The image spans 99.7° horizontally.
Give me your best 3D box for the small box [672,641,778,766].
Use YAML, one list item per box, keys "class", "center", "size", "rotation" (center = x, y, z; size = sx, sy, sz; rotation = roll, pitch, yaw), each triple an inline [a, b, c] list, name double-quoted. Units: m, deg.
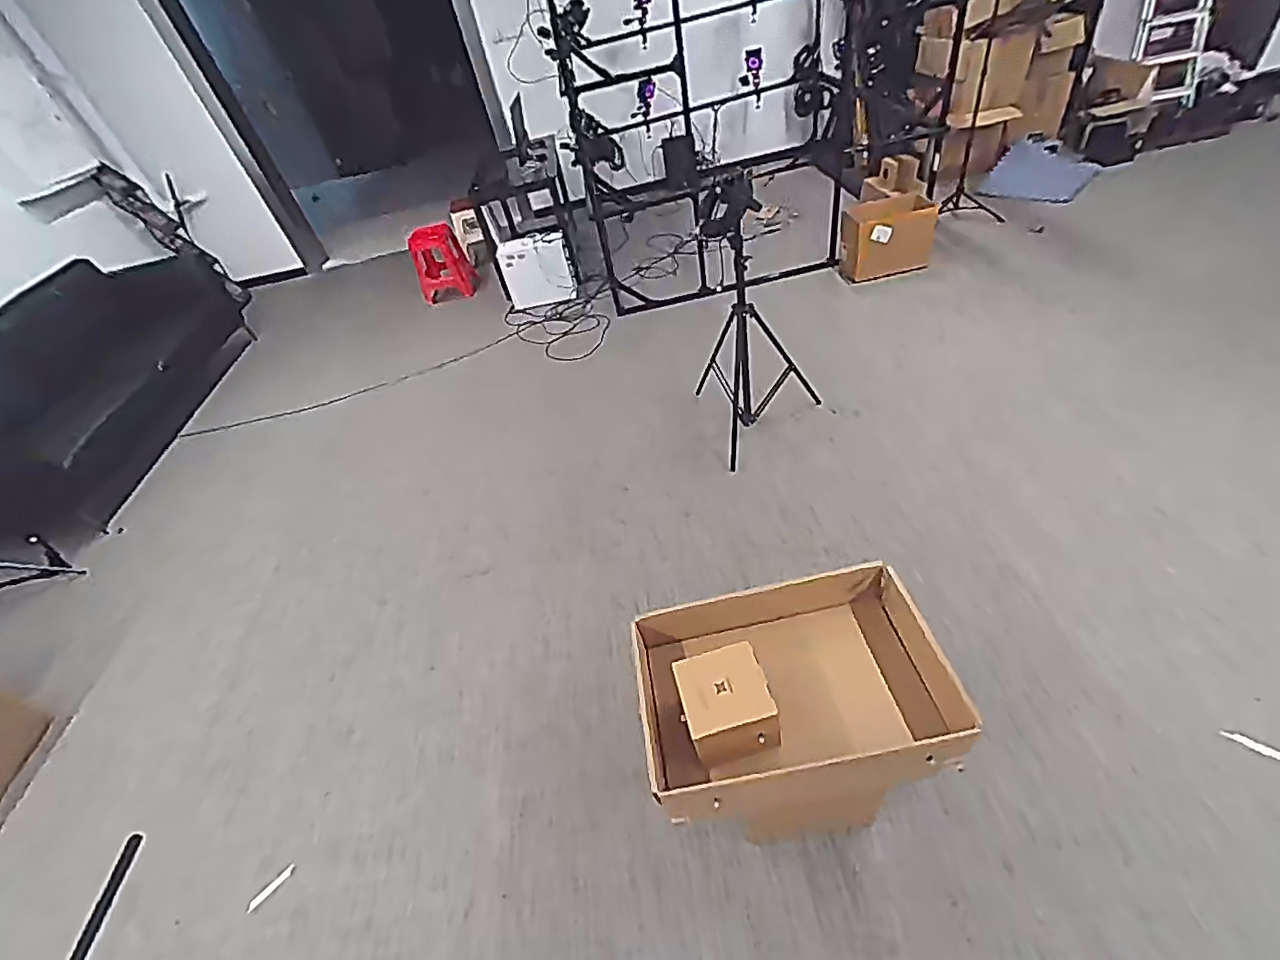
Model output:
- class: "small box"
  center: [0.180, 0.473, 1.138]
  size: [0.179, 0.176, 0.168]
  rotation: [-17, 42, 0]
